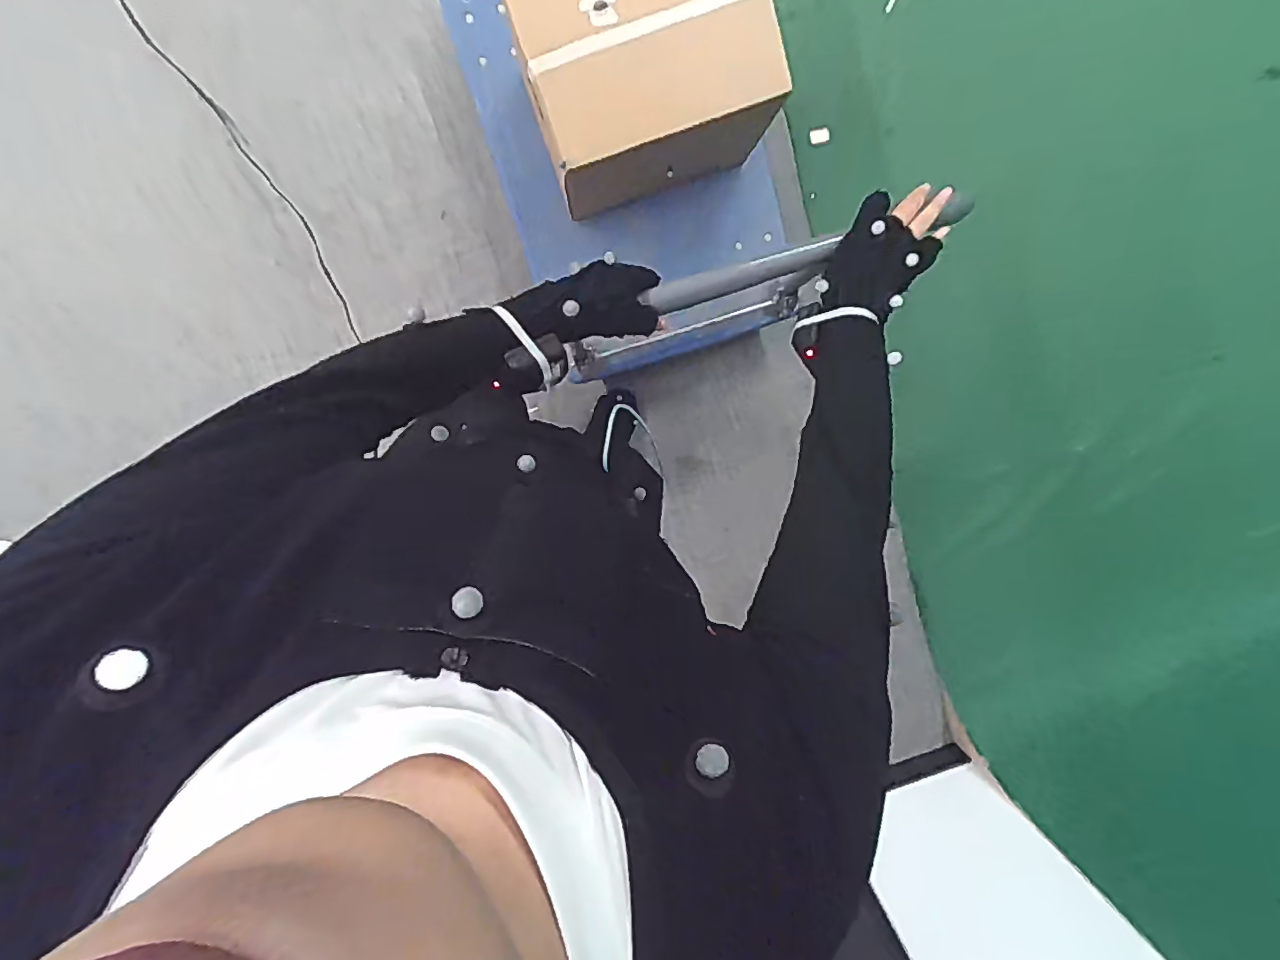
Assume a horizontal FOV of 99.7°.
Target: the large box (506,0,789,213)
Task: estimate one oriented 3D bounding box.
[{"bbox_3d":[0.008,-0.761,1.019,0.408,0.320,0.320,-20,102,1],"label":"large box"}]
